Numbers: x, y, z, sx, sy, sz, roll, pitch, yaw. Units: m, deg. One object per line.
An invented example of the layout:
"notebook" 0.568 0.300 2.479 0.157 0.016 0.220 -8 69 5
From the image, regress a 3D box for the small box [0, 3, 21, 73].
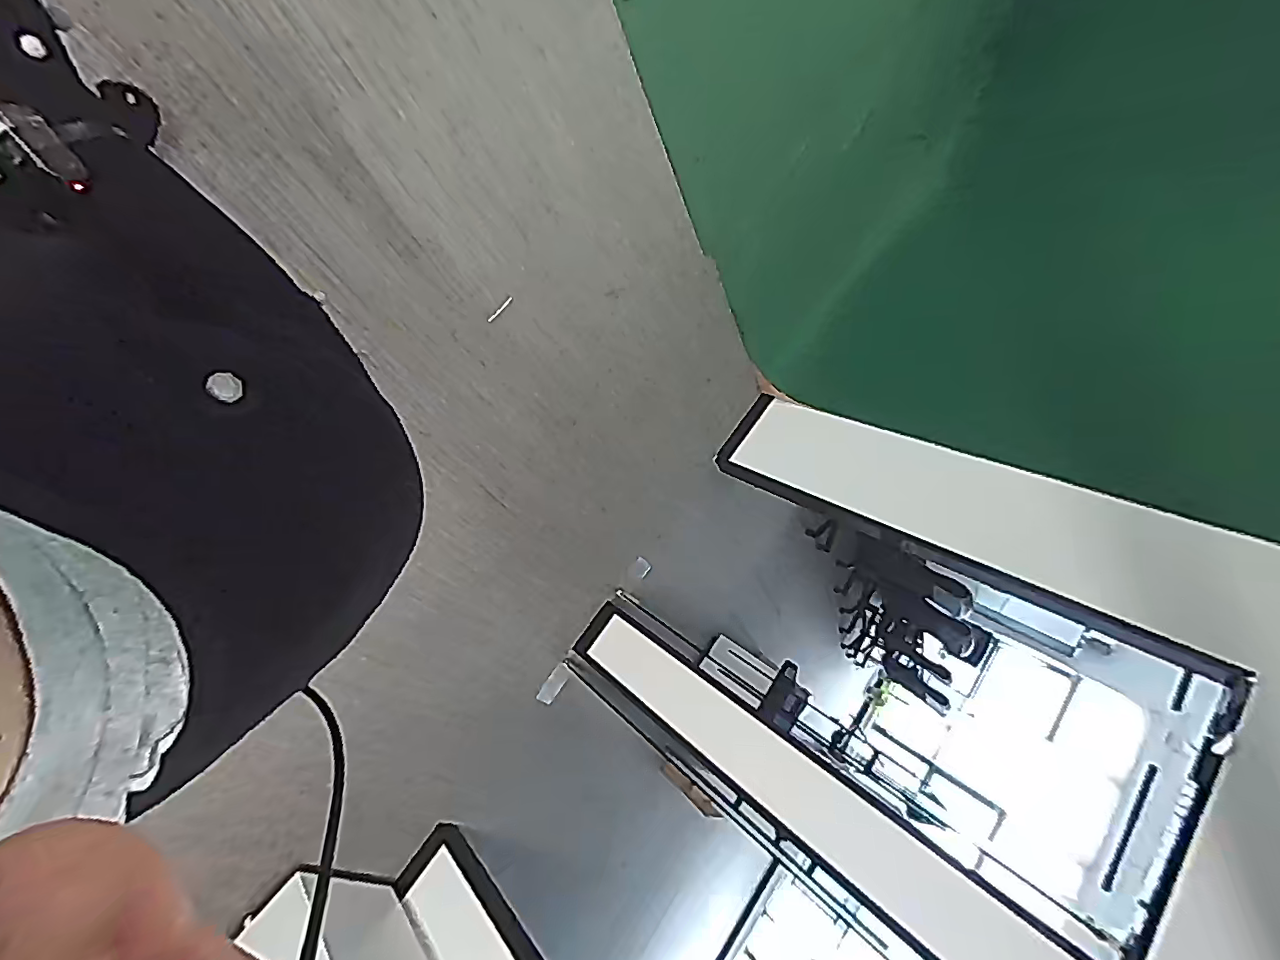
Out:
"small box" -0.605 -0.424 0.370 0.168 0.176 0.179 -18 107 -27
